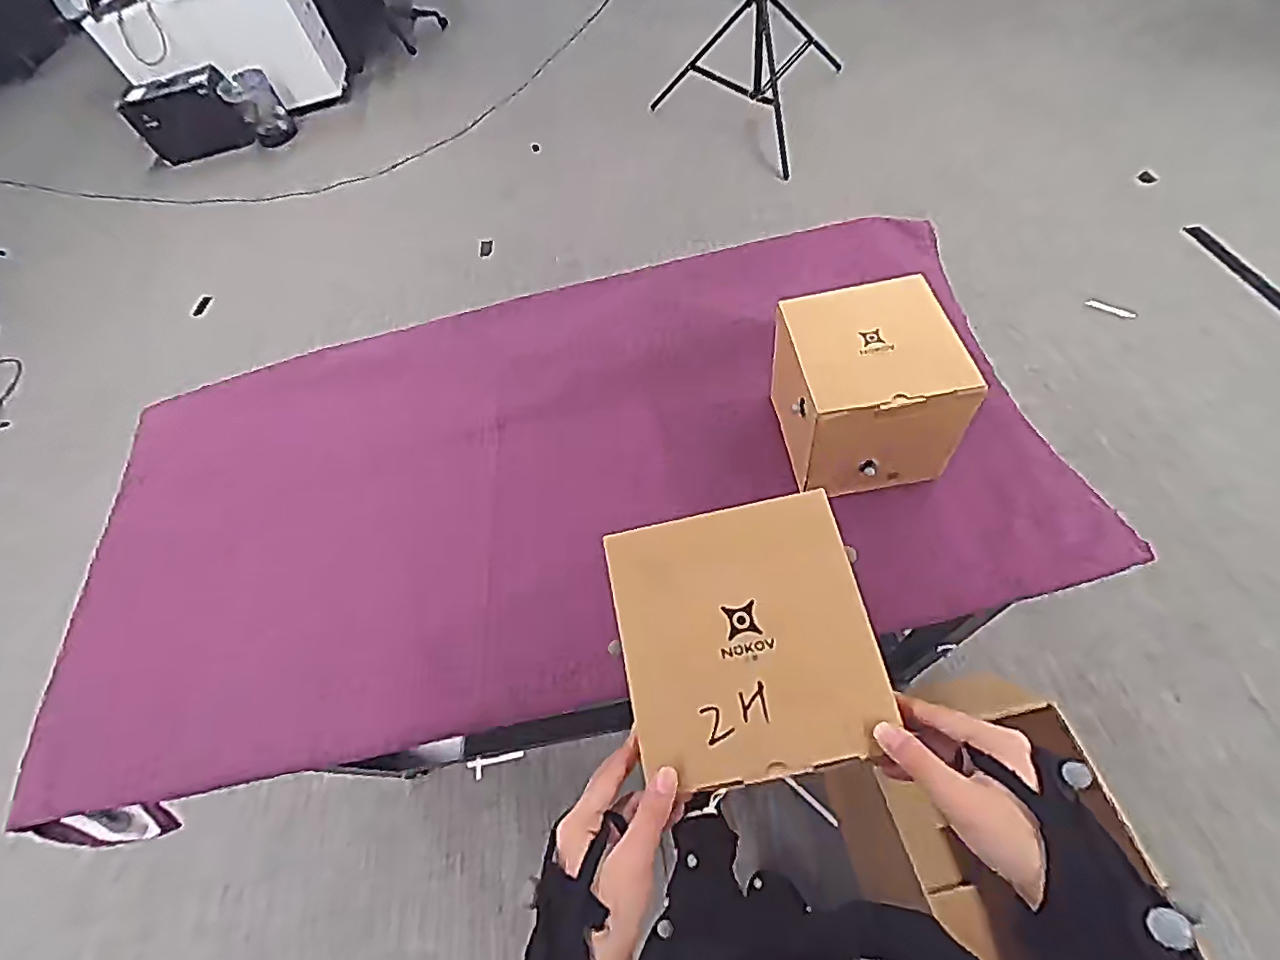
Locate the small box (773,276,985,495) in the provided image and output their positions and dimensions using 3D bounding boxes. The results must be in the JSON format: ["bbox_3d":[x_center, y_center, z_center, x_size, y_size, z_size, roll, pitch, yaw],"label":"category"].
[{"bbox_3d":[0.258,-0.105,0.640,0.168,0.176,0.179,-11,57,5],"label":"small box"}]

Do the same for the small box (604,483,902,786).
[{"bbox_3d":[0.076,0.125,0.437,0.168,0.176,0.179,-13,68,4],"label":"small box"}]
